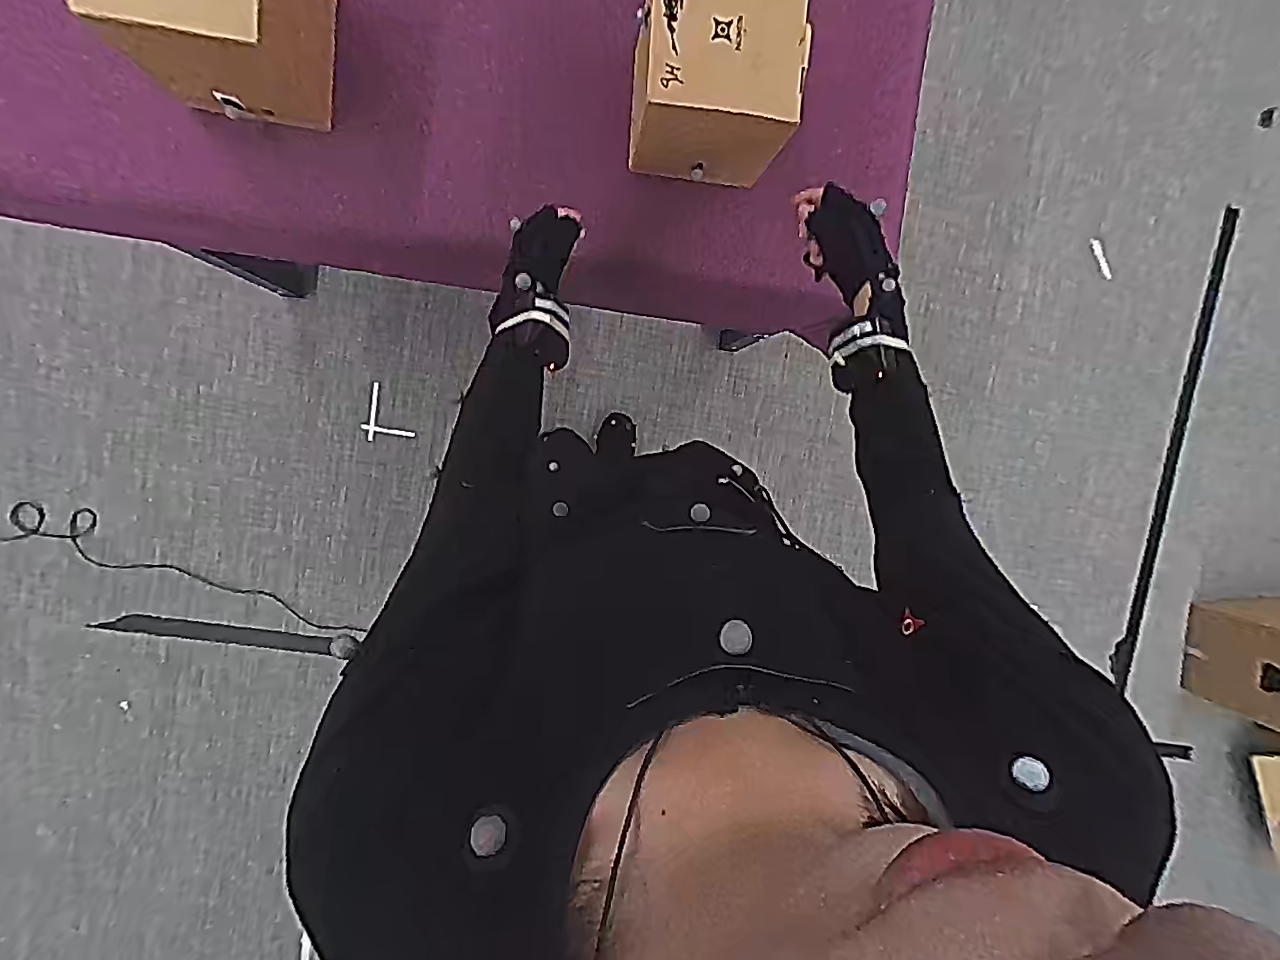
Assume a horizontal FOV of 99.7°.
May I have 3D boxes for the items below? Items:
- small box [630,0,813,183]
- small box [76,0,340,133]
[{"bbox_3d":[0.088,-0.489,0.662,0.179,0.176,0.168,3,95,-8],"label":"small box"},{"bbox_3d":[-0.448,-0.523,0.588,0.168,0.176,0.179,4,96,-7],"label":"small box"}]
